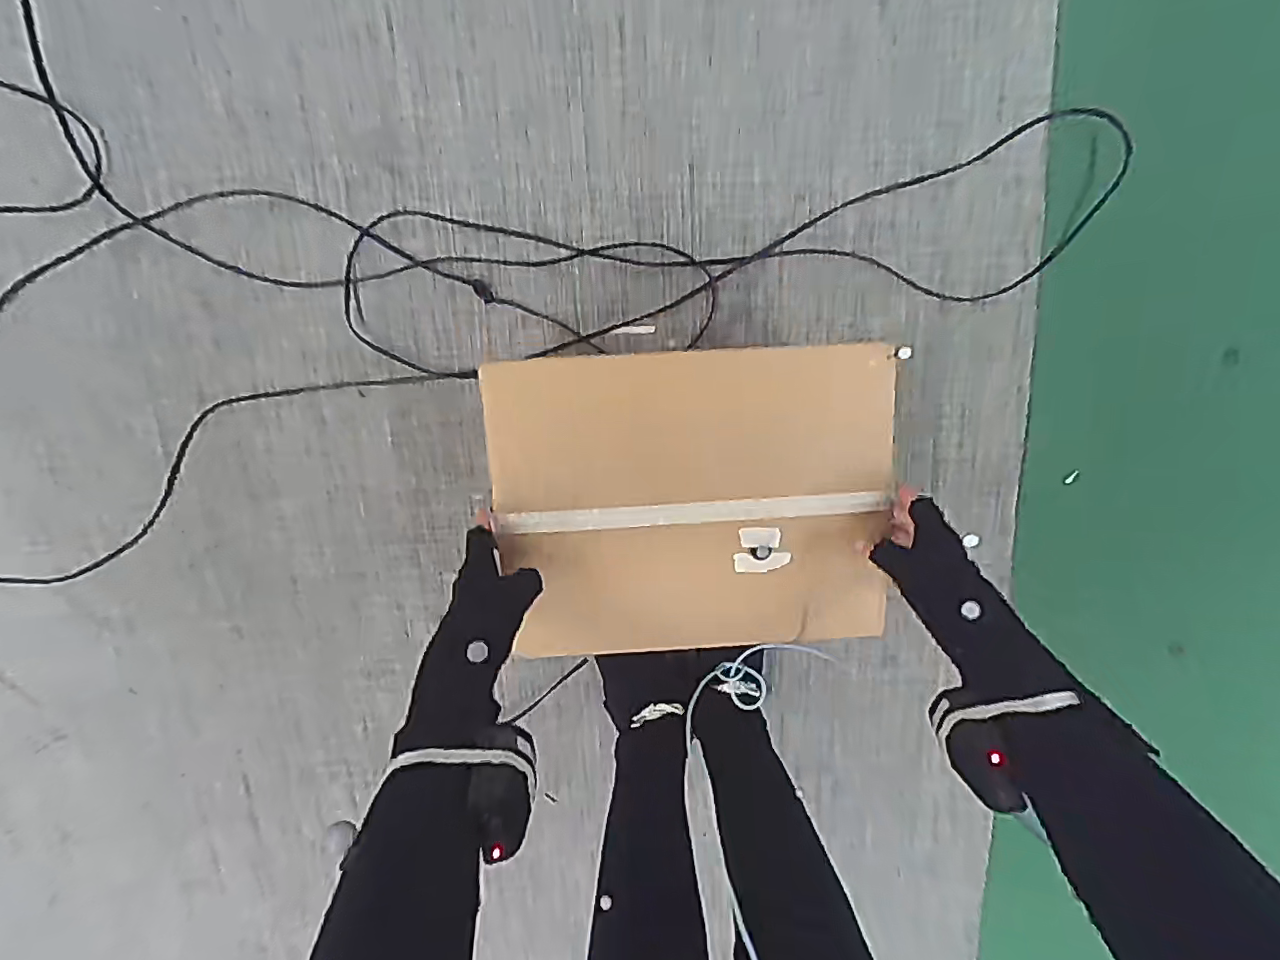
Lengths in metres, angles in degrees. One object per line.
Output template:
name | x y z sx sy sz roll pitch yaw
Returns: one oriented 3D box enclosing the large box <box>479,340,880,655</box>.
large box | 0.044 -0.005 0.706 0.408 0.320 0.320 -4 104 -2
